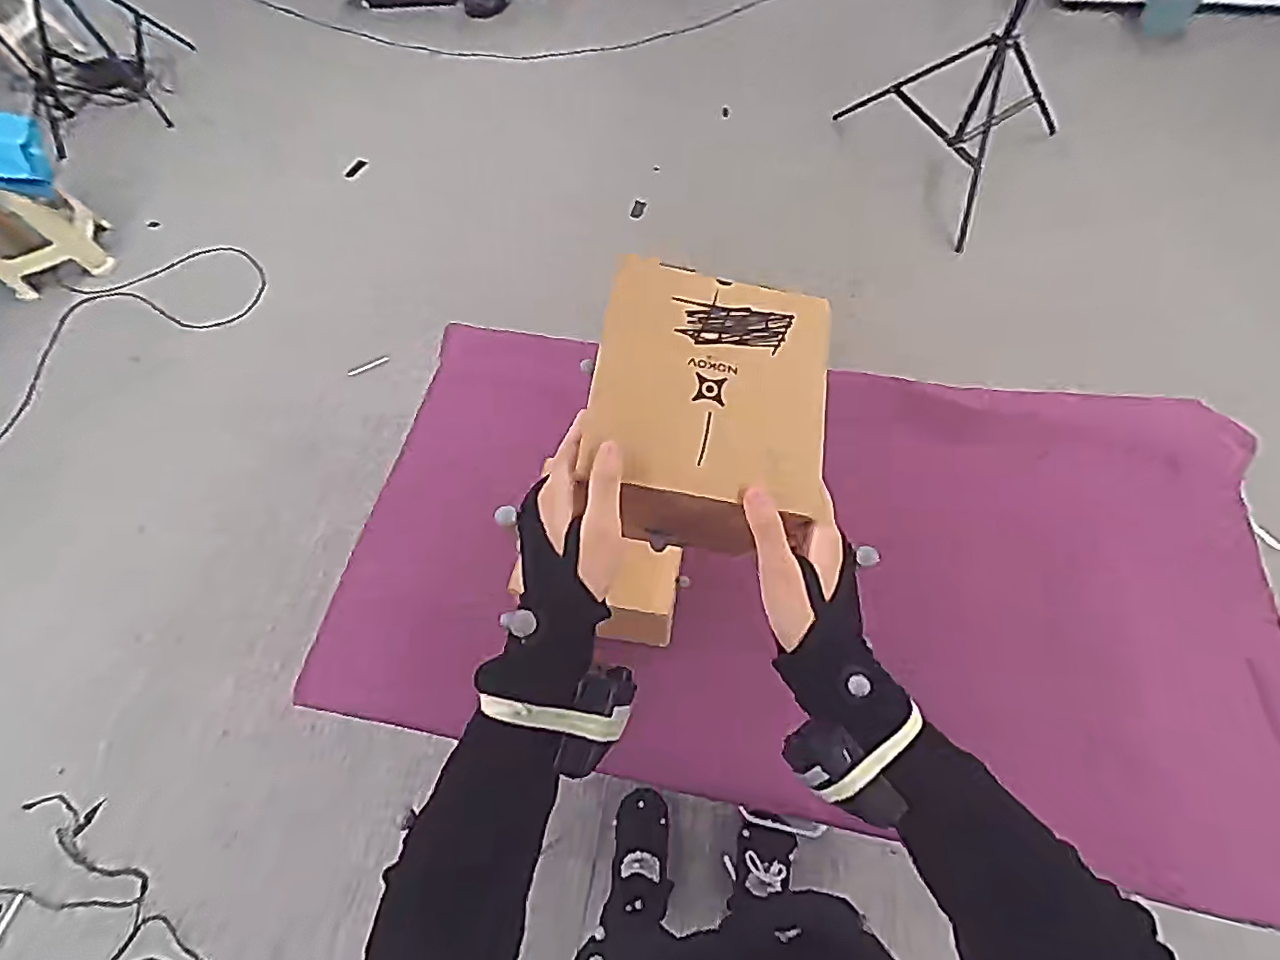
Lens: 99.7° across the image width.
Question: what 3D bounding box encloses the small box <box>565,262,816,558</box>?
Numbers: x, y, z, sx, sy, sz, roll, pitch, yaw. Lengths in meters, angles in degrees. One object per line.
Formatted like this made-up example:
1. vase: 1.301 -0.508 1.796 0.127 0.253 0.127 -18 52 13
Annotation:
1. small box: 0.032 -0.043 0.456 0.168 0.176 0.179 10 72 -4

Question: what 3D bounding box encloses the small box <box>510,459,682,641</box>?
1. small box: -0.038 0.095 0.674 0.179 0.176 0.168 8 63 7
